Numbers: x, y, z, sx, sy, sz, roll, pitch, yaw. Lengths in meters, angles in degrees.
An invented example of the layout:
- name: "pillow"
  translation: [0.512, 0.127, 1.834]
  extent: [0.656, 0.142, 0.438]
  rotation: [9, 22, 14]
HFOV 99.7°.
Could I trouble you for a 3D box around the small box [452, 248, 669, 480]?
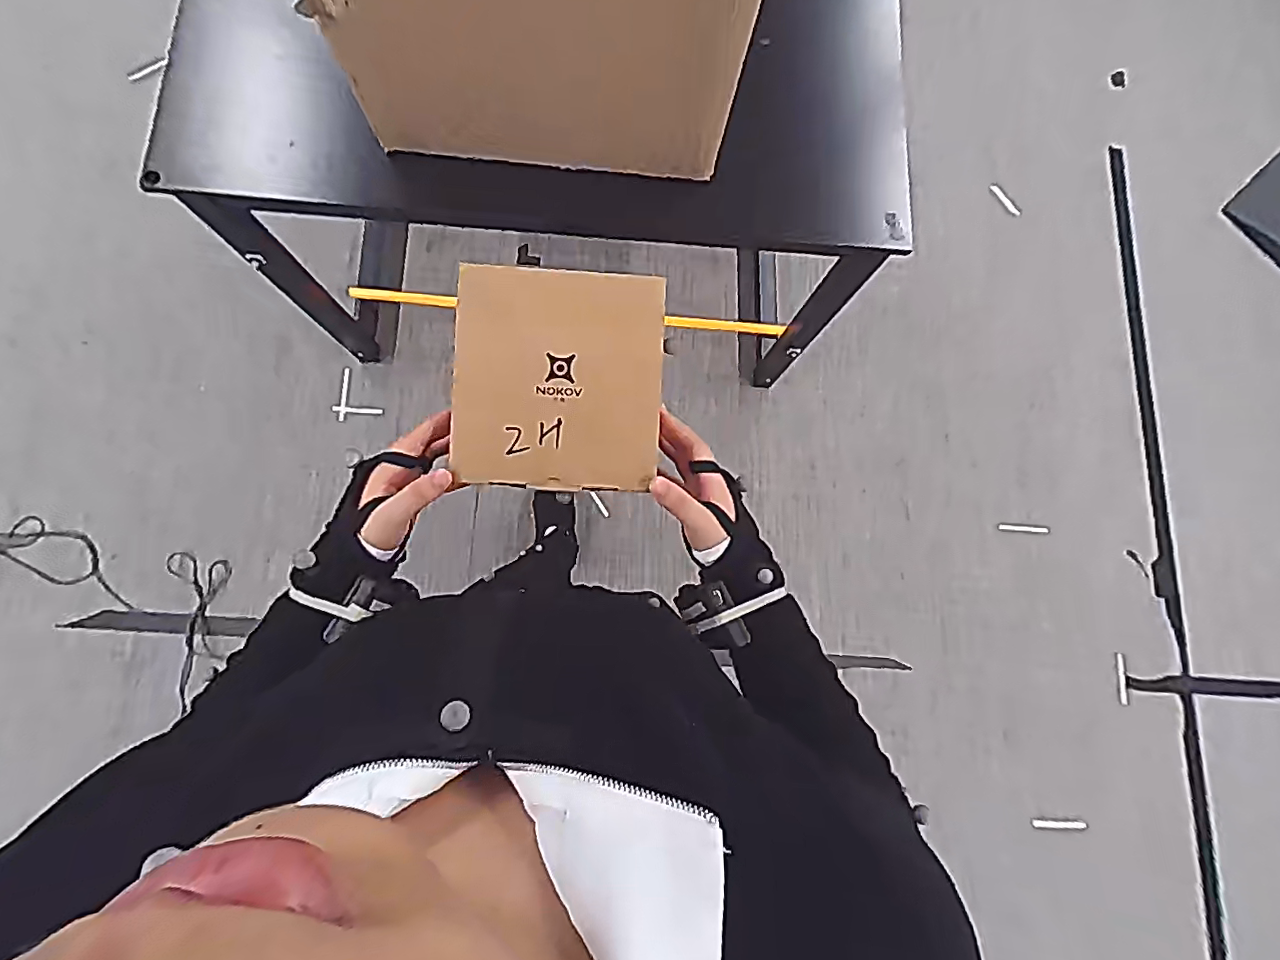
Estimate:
- name: "small box"
  translation: [-0.067, -0.092, 0.512]
  extent: [0.168, 0.176, 0.179]
  rotation: [3, 89, -3]
